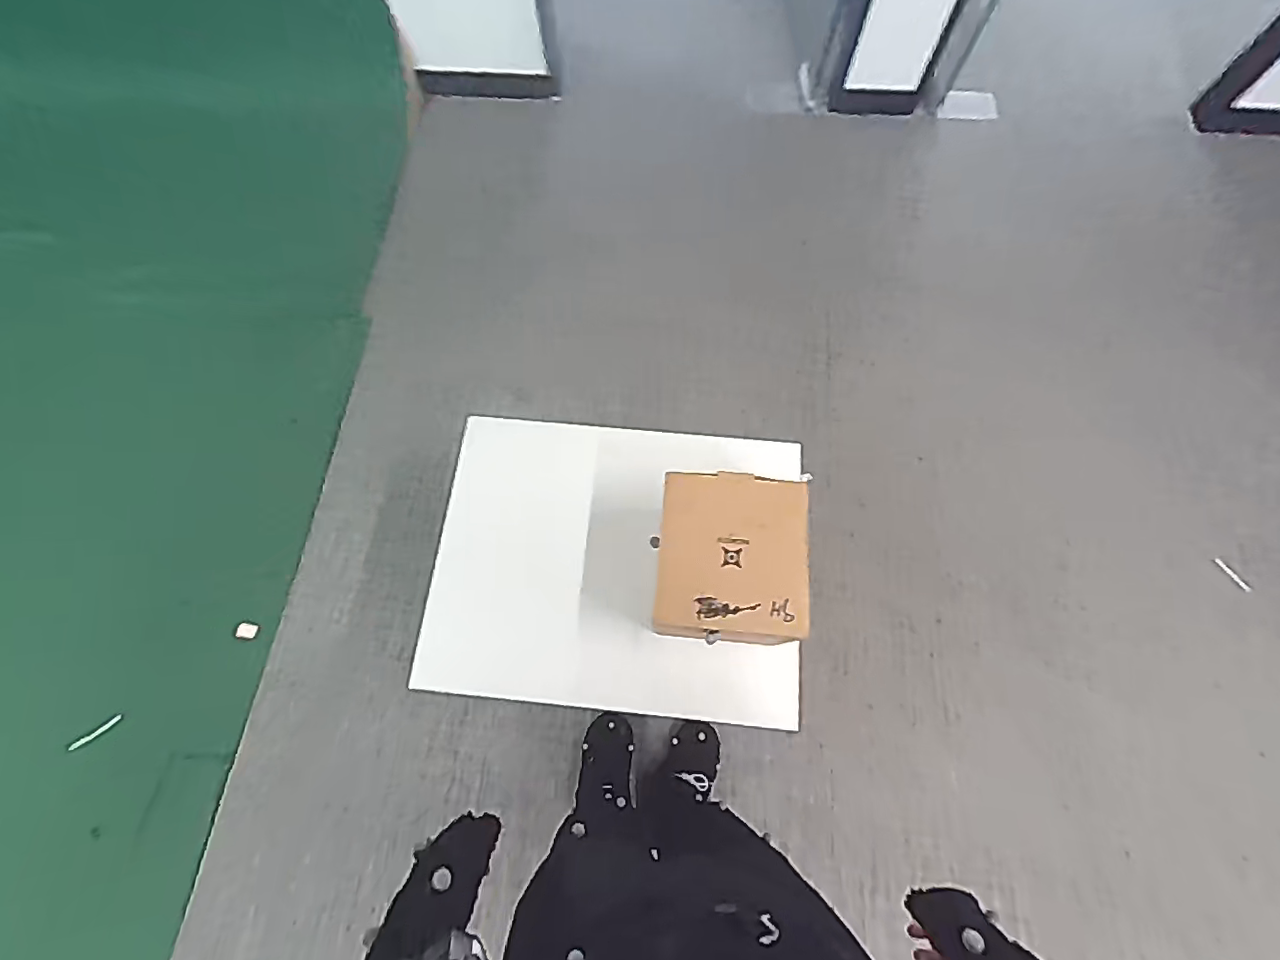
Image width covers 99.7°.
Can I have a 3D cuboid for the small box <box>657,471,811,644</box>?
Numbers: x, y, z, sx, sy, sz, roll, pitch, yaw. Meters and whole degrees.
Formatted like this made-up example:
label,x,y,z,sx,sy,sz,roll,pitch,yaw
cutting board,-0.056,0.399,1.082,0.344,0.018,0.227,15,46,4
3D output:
label,x,y,z,sx,sy,sz,roll,pitch,yaw
small box,0.108,0.103,0.673,0.168,0.176,0.179,4,71,4
